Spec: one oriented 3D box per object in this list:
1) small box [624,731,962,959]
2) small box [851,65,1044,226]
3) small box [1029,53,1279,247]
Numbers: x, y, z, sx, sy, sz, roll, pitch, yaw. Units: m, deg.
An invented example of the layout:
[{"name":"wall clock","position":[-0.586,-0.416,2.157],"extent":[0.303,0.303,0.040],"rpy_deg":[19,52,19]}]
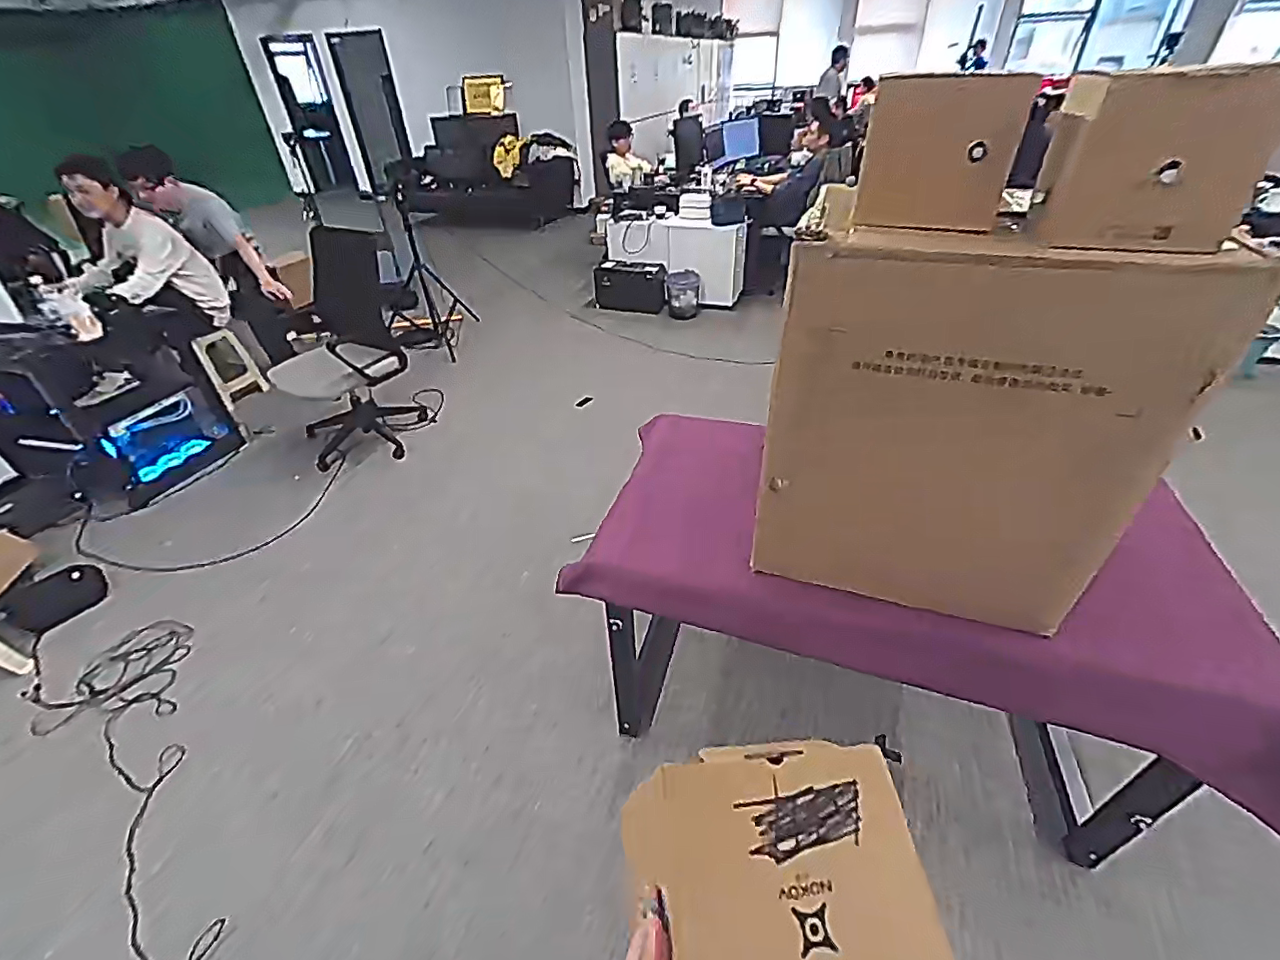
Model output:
[{"name":"small box","position":[0.088,0.300,0.385],"extent":[0.168,0.176,0.179],"rpy_deg":[1,51,-13]},{"name":"small box","position":[0.398,-0.450,0.730],"extent":[0.179,0.176,0.168],"rpy_deg":[11,39,17]},{"name":"small box","position":[0.585,-0.379,0.626],"extent":[0.168,0.176,0.179],"rpy_deg":[11,39,18]}]
